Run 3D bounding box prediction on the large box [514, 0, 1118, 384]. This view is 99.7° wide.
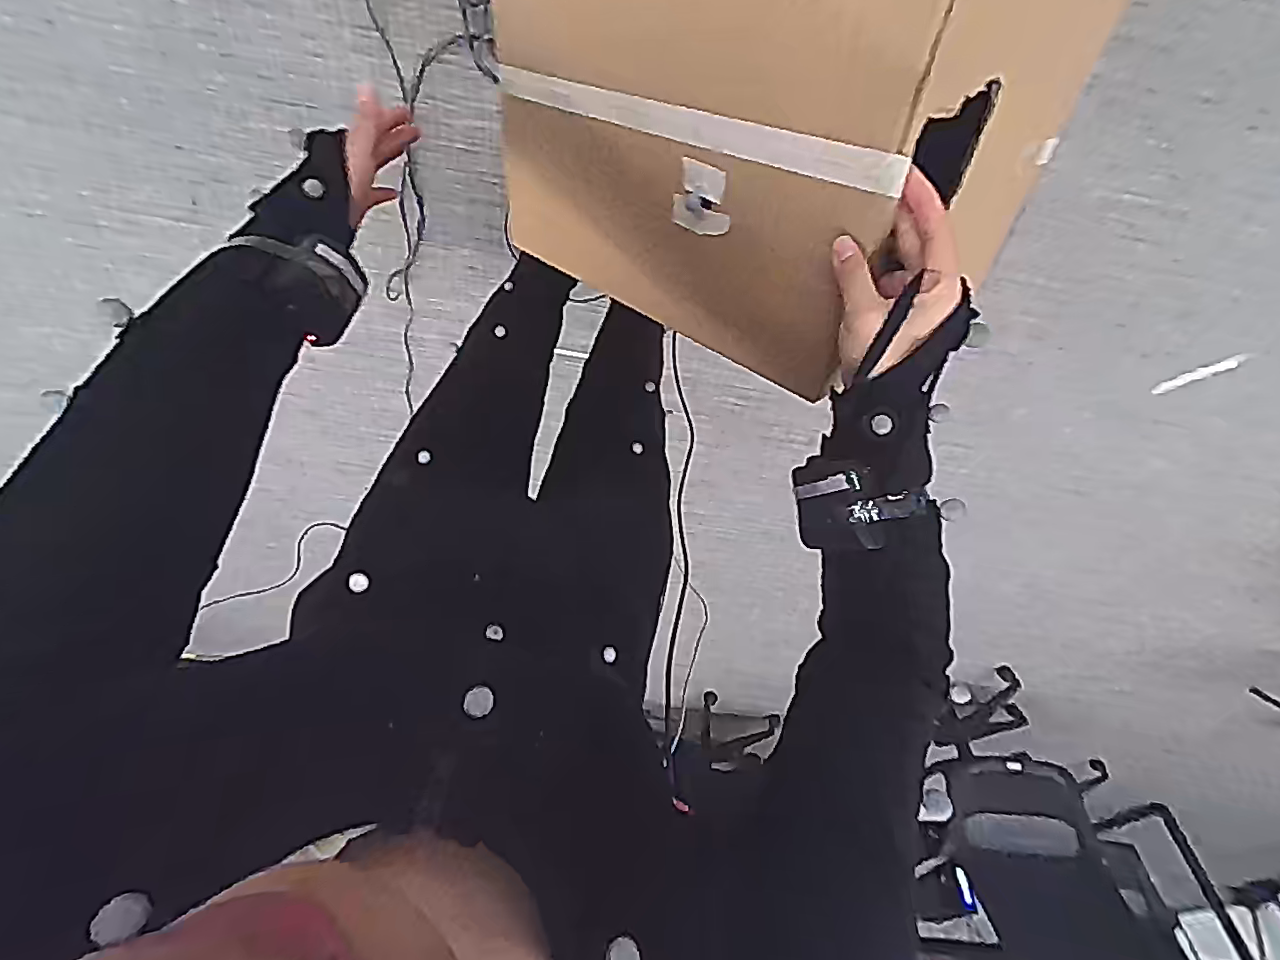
[{"bbox_3d":[0.127,-0.345,0.507,0.408,0.320,0.320,36,139,30],"label":"large box"}]
